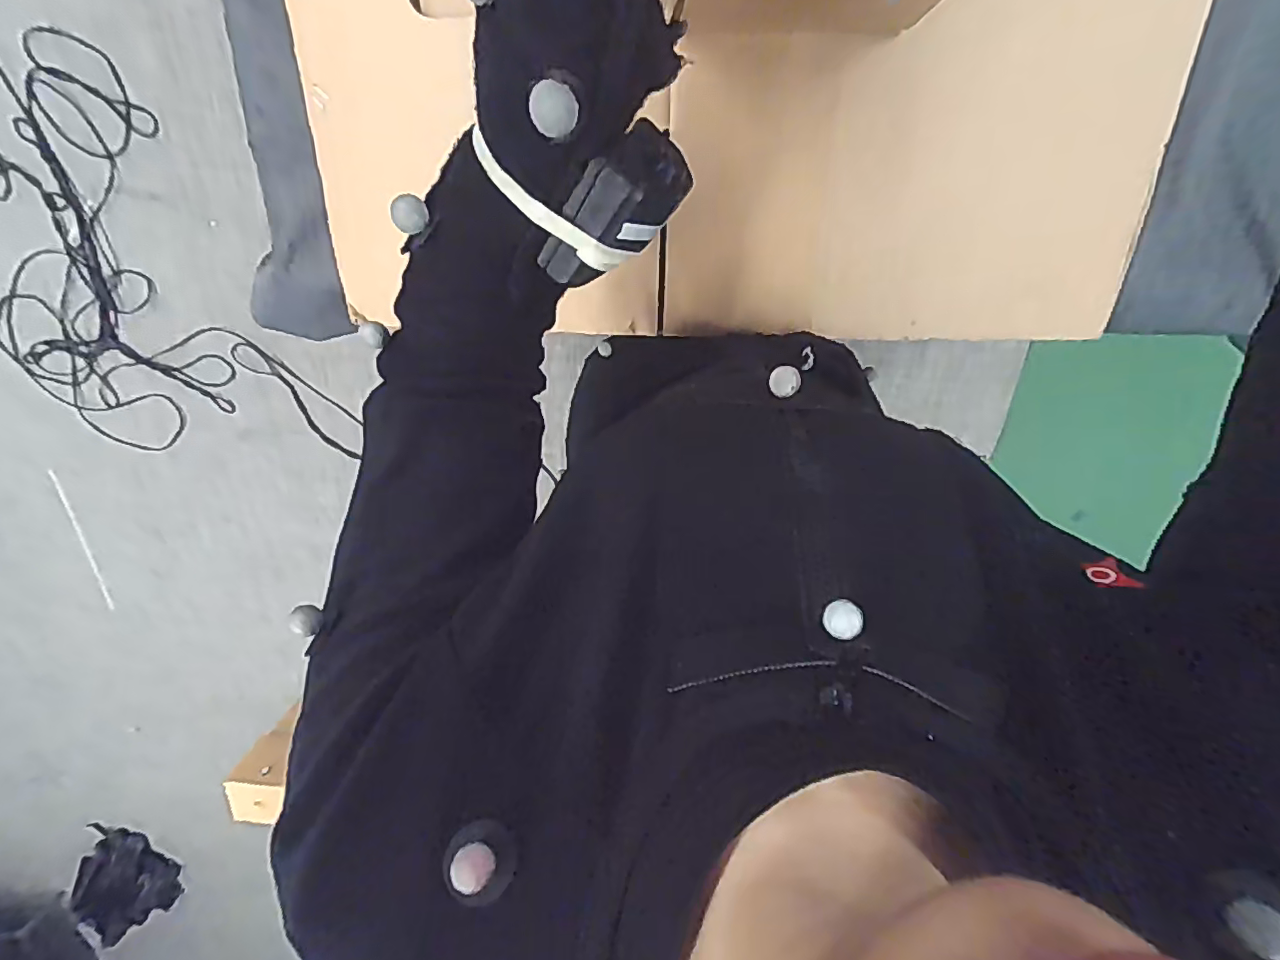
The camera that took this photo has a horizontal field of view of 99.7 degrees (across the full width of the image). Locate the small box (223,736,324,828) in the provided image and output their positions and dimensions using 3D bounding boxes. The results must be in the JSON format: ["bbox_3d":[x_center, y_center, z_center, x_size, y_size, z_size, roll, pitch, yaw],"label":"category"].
[{"bbox_3d":[-1.074,0.886,1.597,0.179,0.176,0.168,6,113,-1],"label":"small box"}]

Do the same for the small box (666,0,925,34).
[{"bbox_3d":[0.103,-0.365,0.281,0.179,0.176,0.168,0,111,2],"label":"small box"}]
